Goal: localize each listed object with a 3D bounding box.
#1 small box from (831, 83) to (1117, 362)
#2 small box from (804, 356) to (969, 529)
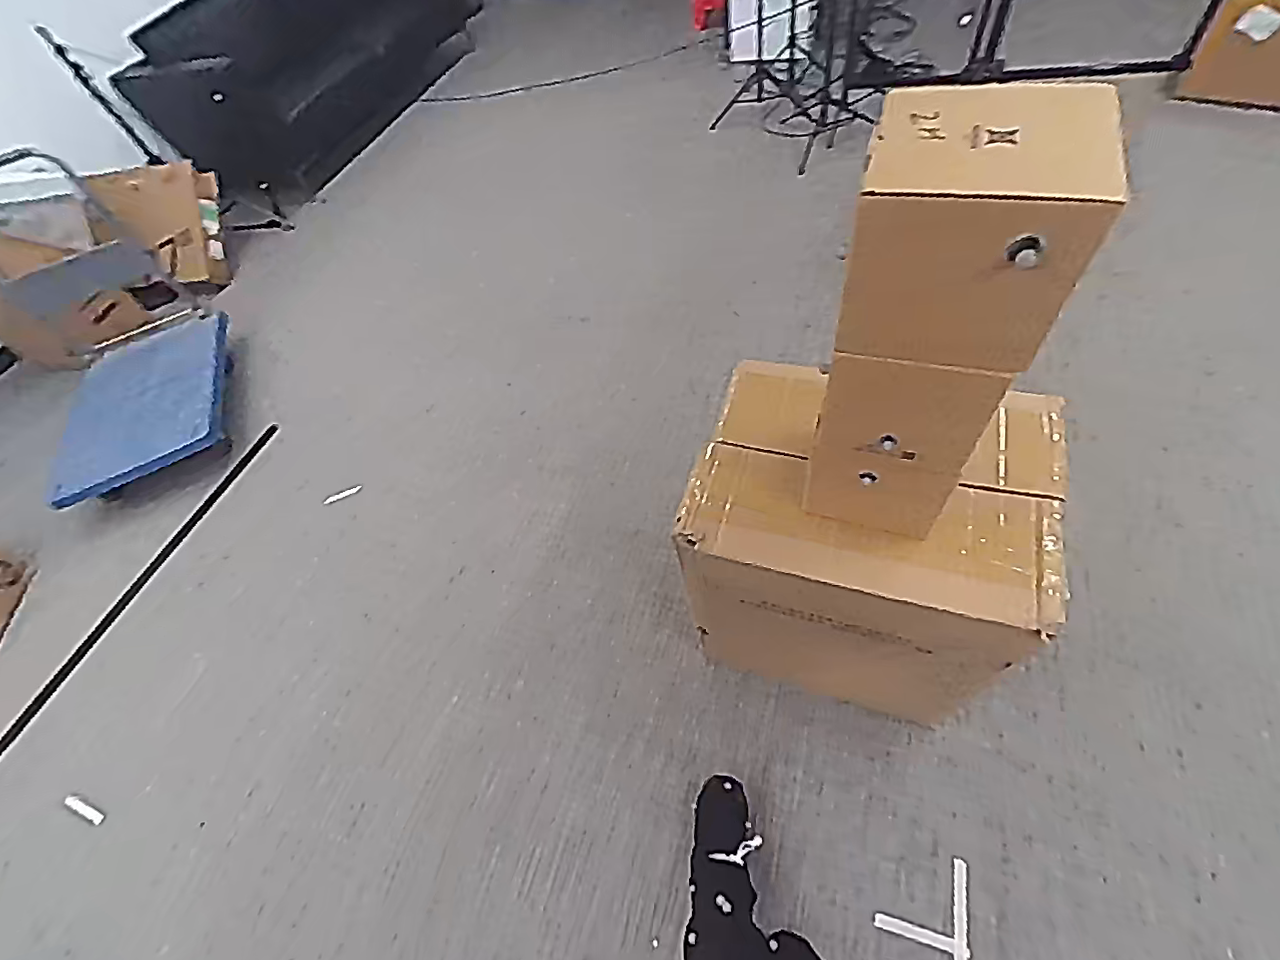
[{"bbox_3d":[0.288,-0.231,0.499,0.179,0.176,0.168,13,60,20],"label":"small box"},{"bbox_3d":[0.340,-0.049,0.769,0.179,0.176,0.168,13,60,20],"label":"small box"}]
